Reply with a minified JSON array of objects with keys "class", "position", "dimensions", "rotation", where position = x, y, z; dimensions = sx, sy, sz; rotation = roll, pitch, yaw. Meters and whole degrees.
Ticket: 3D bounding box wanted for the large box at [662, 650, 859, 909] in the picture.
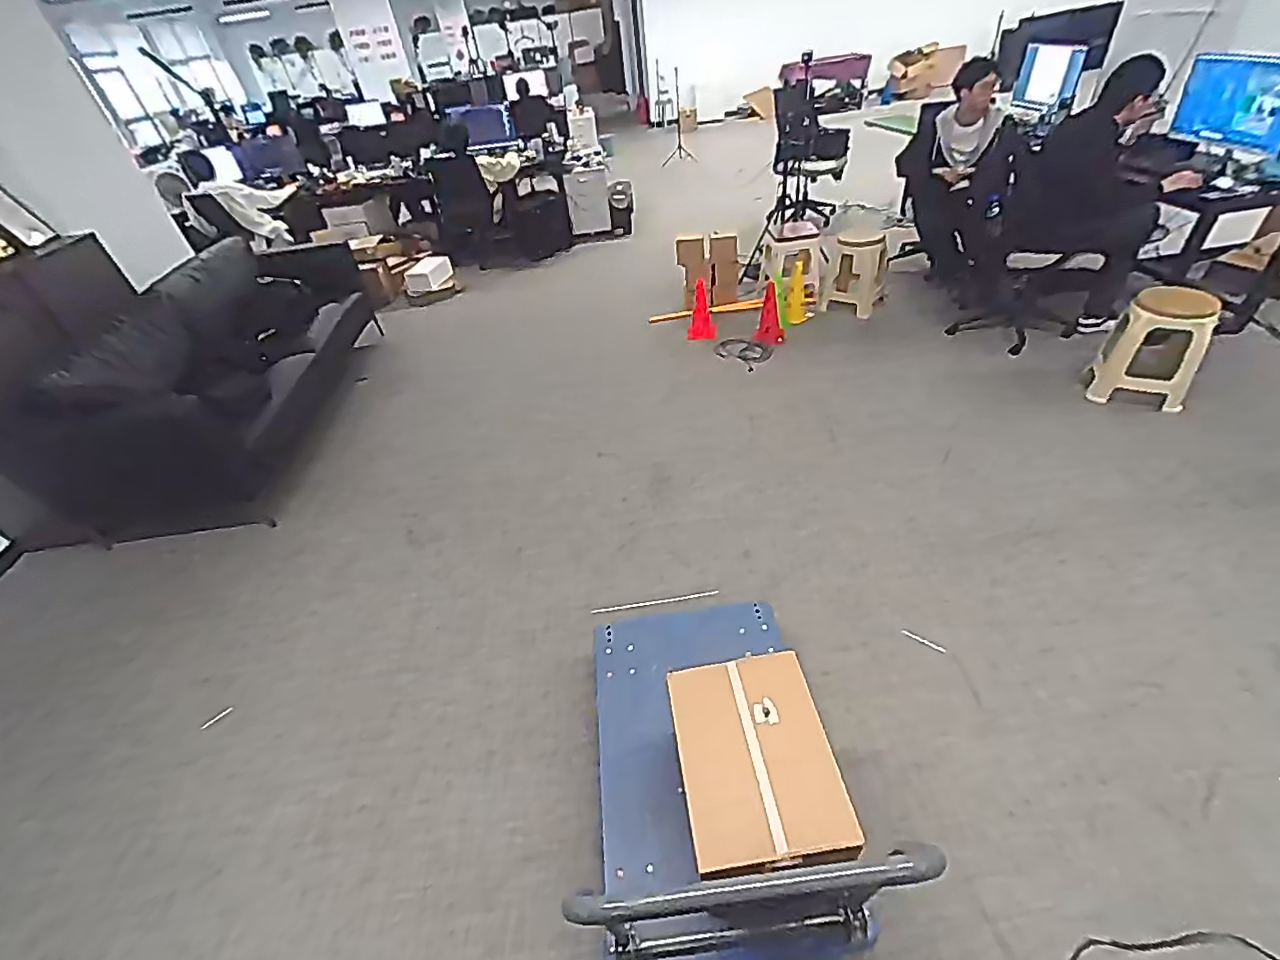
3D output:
[{"class":"large box","position":[0.247,0.668,1.228],"dimensions":[0.320,0.320,0.408],"rotation":[-9,40,-1]}]
